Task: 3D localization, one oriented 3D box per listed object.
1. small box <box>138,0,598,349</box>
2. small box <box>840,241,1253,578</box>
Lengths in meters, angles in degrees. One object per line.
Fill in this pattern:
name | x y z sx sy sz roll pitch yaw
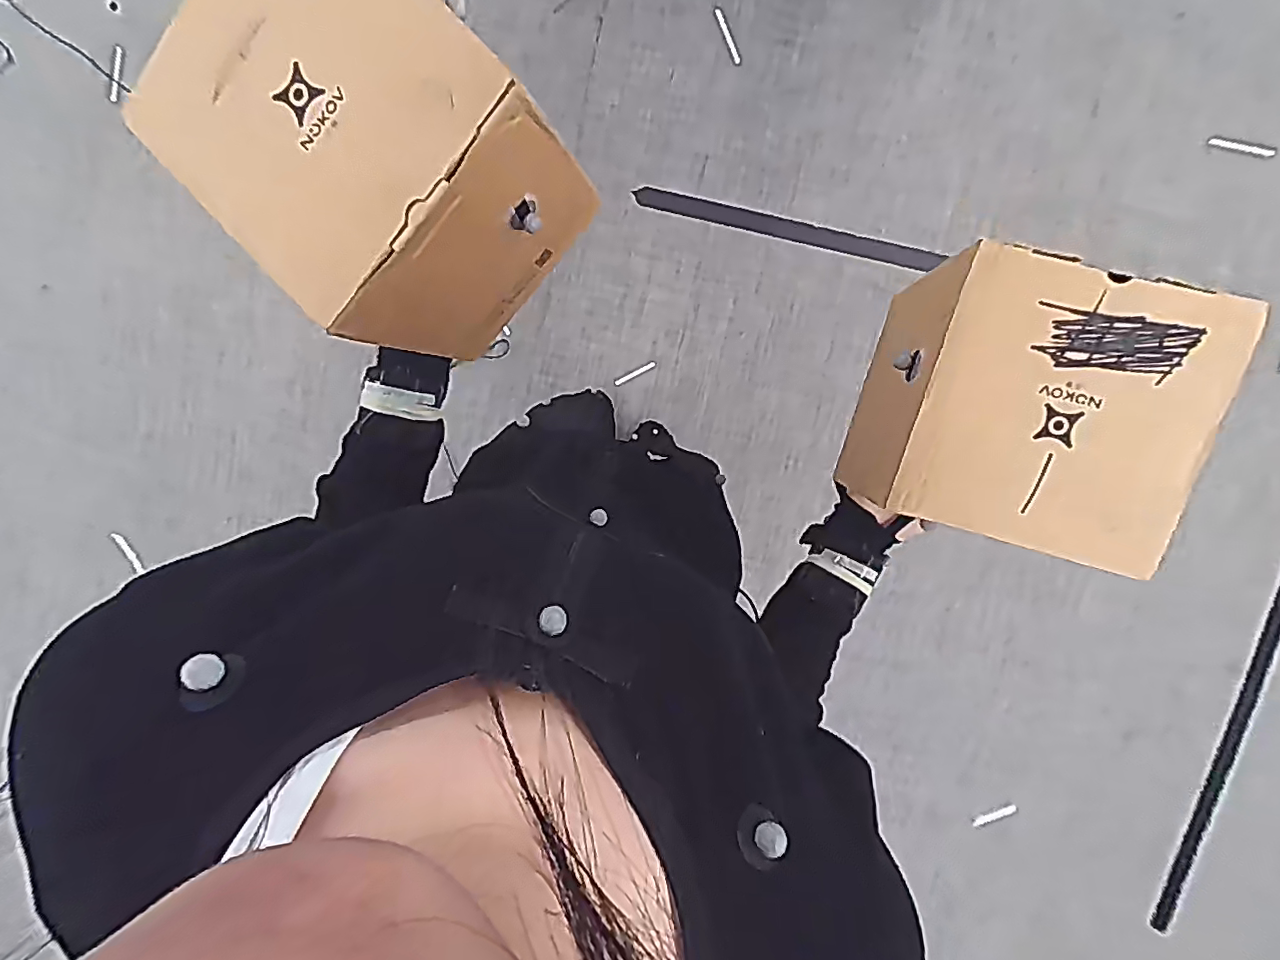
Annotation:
small box | -0.154 -0.206 0.362 0.179 0.176 0.168 45 102 3
small box | 0.272 -0.051 0.416 0.168 0.176 0.179 17 99 6
